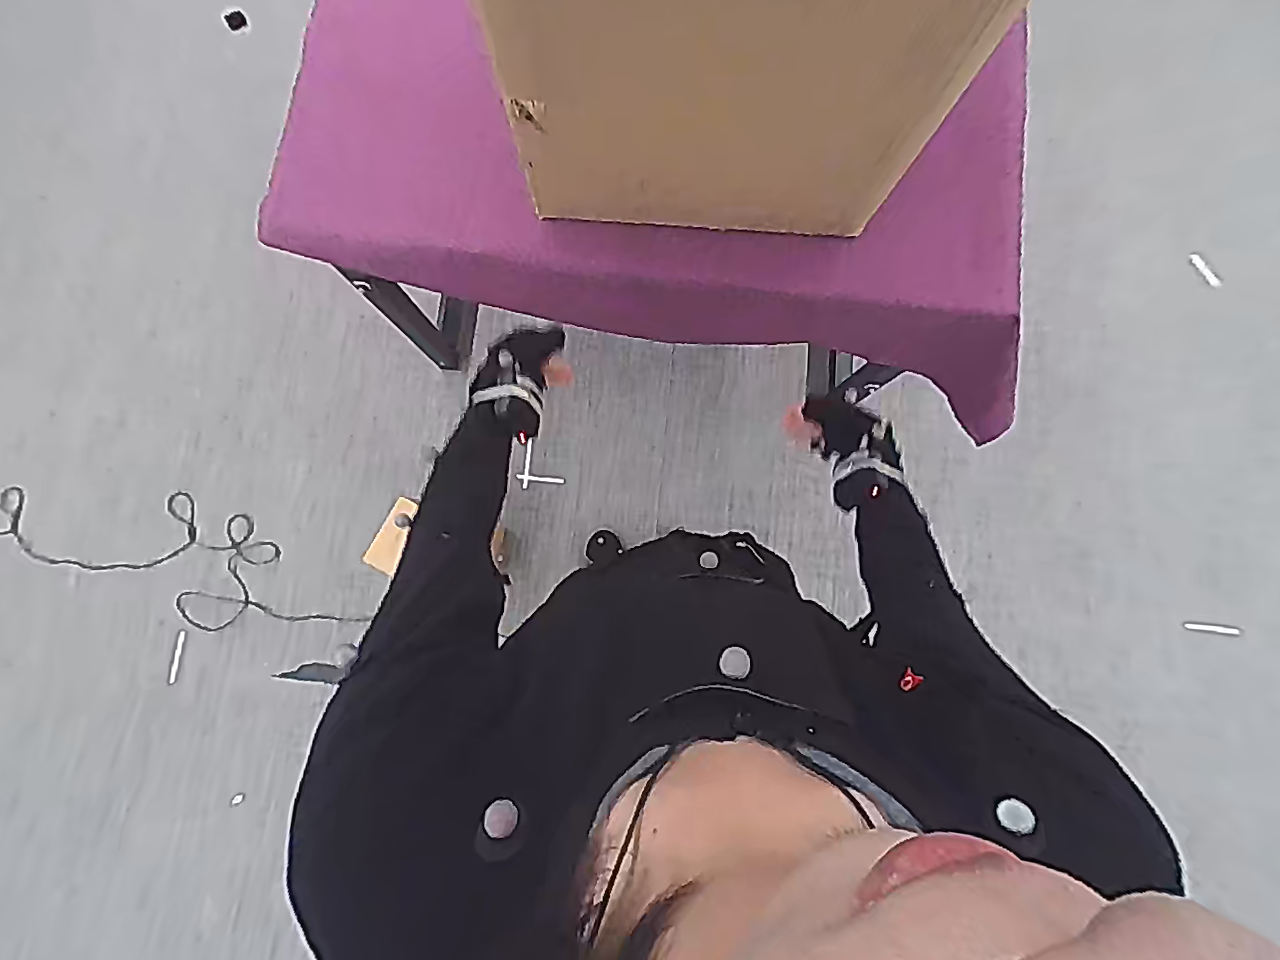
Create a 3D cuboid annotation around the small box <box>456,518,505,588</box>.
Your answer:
[{"bbox_3d":[-0.472,0.189,1.430,0.179,0.176,0.168,8,83,-1],"label":"small box"}]

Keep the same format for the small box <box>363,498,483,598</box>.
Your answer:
[{"bbox_3d":[-0.497,0.158,1.269,0.179,0.176,0.168,28,82,3],"label":"small box"}]
